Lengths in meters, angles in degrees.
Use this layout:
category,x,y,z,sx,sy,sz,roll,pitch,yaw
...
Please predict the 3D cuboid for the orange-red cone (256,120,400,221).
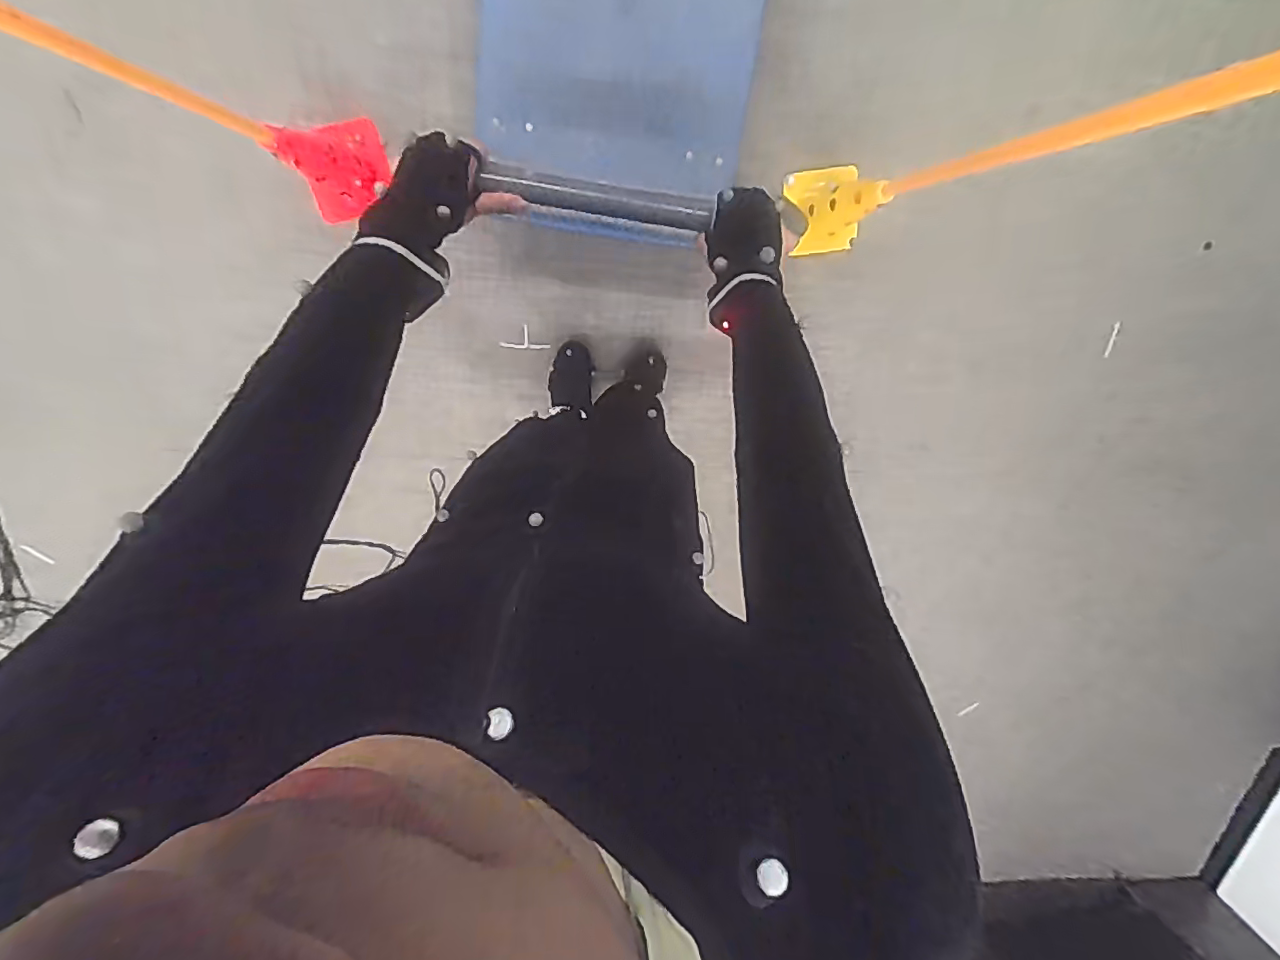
category,x,y,z,sx,sy,sz,roll,pitch,yaw
orange-red cone,-0.687,-0.682,1.139,0.199,0.360,0.198,-11,111,1
